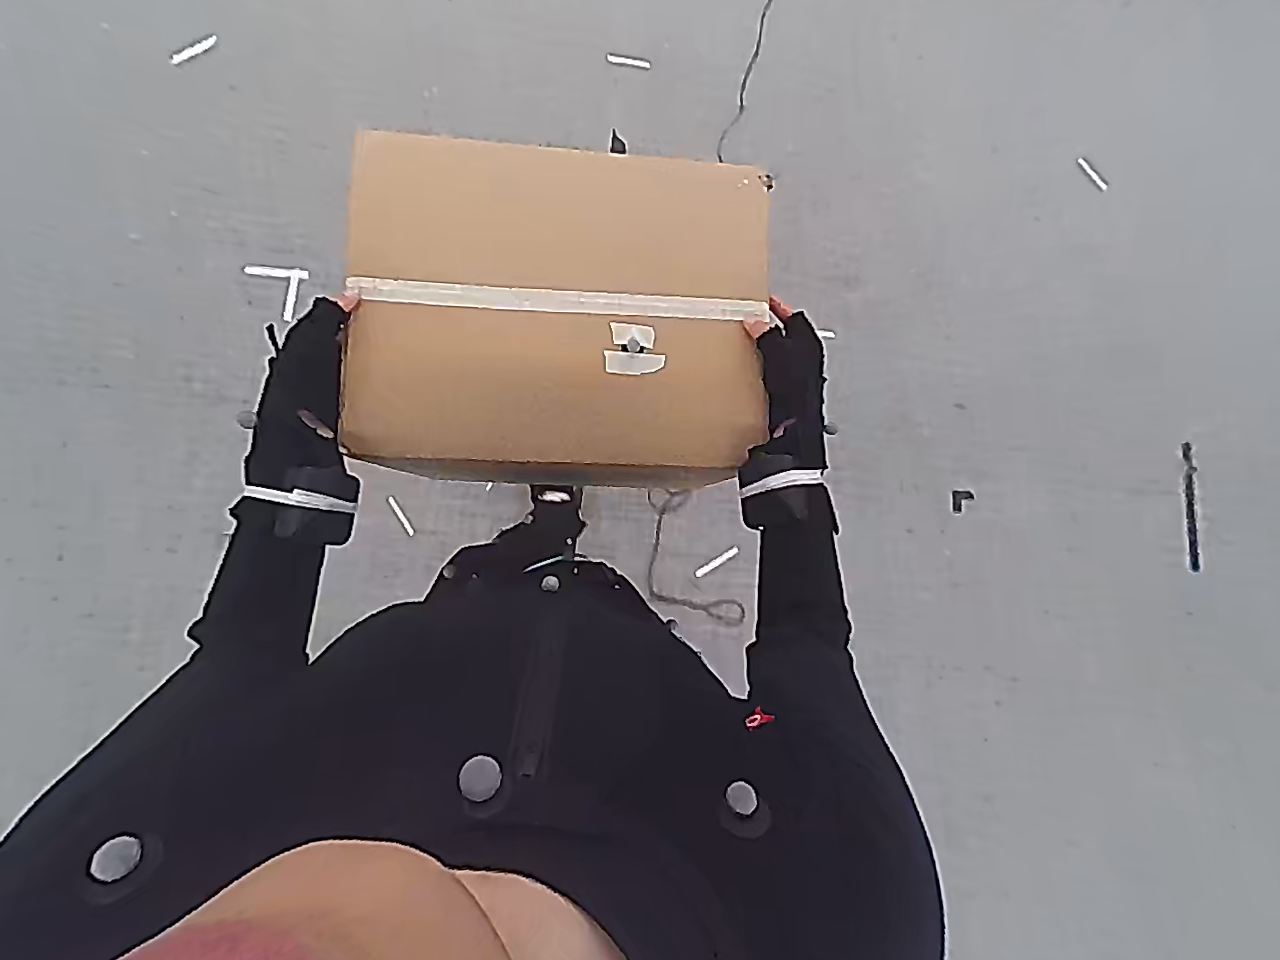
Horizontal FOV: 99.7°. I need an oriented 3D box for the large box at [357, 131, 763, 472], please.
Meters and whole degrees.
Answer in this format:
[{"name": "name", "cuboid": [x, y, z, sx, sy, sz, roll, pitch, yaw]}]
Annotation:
[{"name": "large box", "cuboid": [-0.088, -0.178, 0.688, 0.408, 0.320, 0.320, 2, 87, -7]}]
